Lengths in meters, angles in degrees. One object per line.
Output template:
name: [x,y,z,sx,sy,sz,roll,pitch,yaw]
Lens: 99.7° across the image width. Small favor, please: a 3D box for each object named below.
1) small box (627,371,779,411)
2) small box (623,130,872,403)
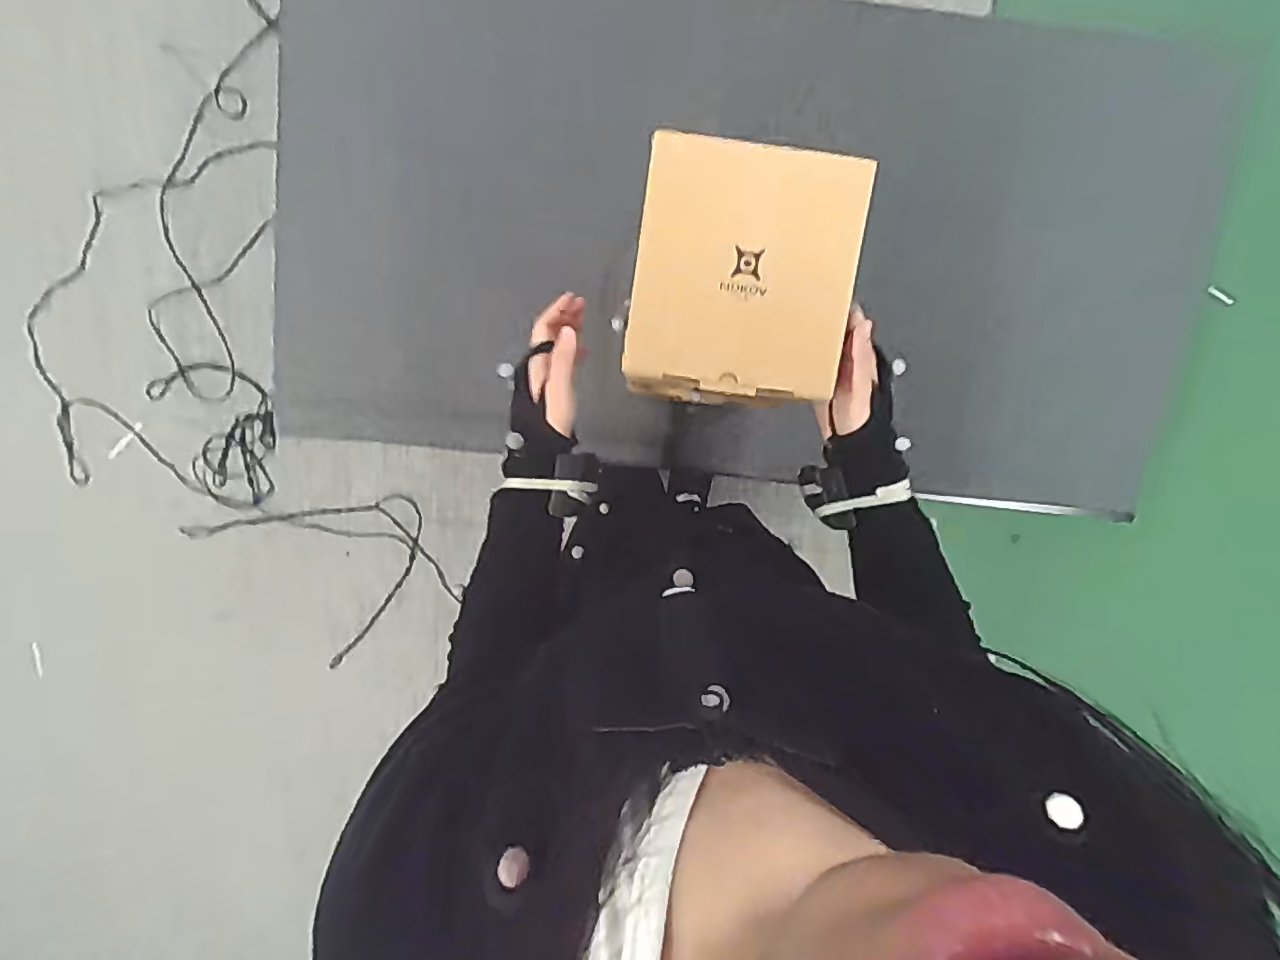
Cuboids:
small box: [0.077,-0.178,0.639,0.168,0.176,0.179,7,98,1]
small box: [0.078,-0.166,0.477,0.168,0.176,0.179,7,98,0]
